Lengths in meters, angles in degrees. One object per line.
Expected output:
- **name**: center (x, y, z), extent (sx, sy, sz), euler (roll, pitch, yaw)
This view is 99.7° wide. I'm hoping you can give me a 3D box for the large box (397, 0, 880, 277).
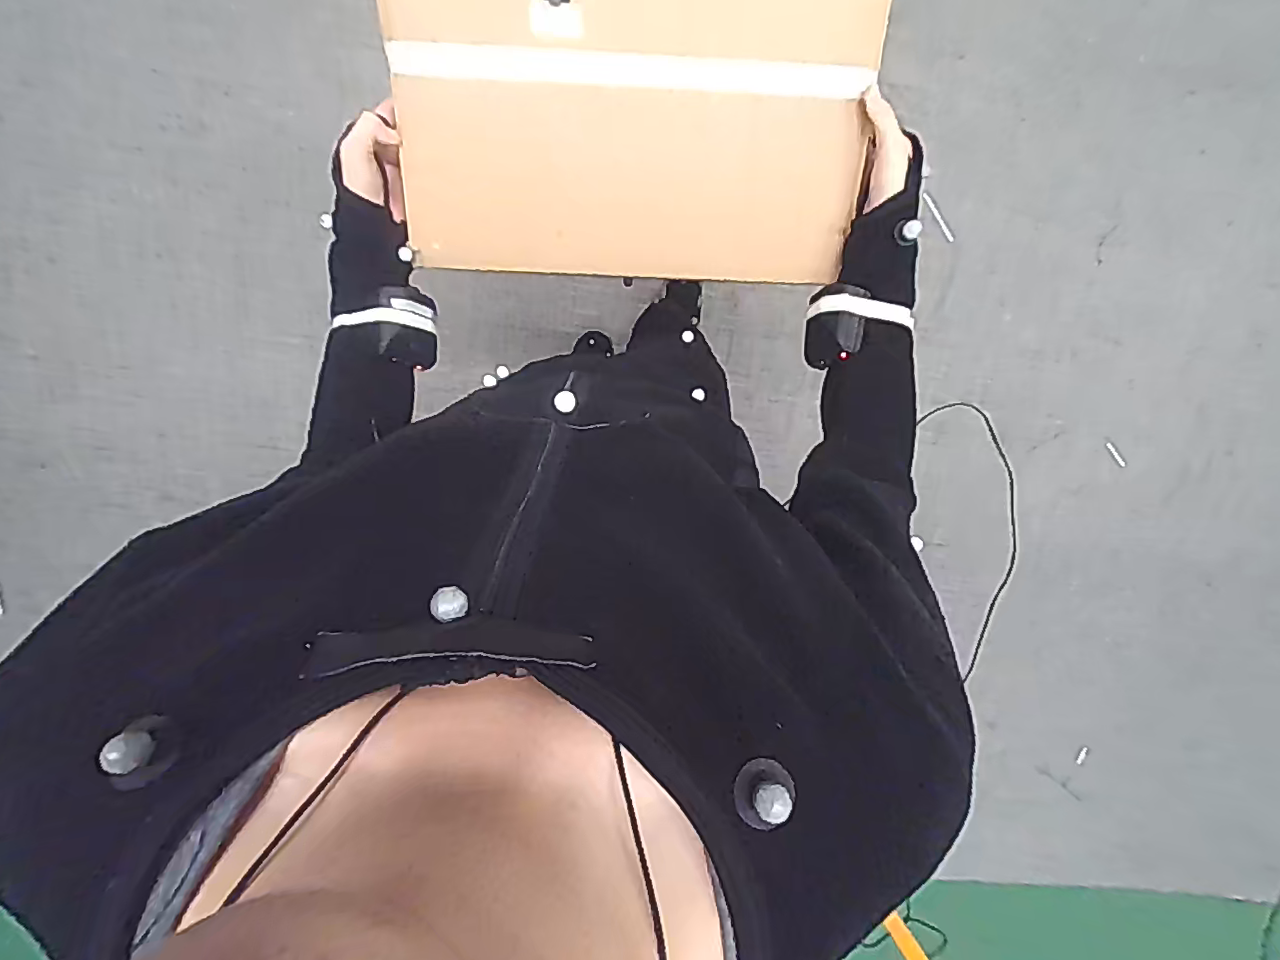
- **large box**: center (-0.003, -0.401, 0.599), extent (0.408, 0.320, 0.320), euler (1, 111, -2)
